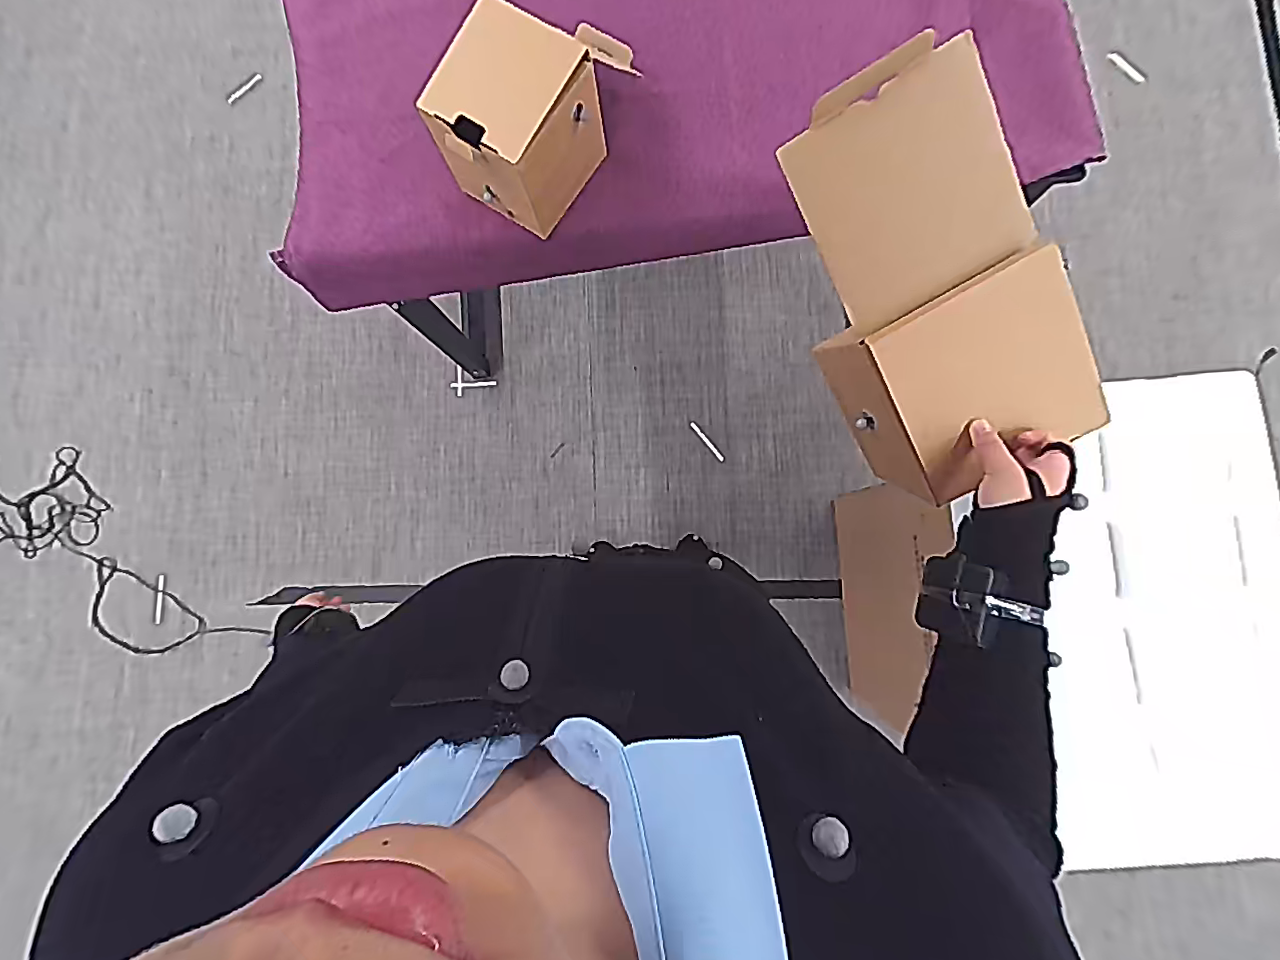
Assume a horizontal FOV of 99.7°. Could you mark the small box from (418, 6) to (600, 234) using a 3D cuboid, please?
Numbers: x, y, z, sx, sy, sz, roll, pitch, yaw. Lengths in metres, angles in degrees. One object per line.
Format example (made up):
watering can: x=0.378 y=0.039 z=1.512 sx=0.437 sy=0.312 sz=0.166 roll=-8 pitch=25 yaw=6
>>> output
small box: x=-0.172 y=-0.502 z=0.776 sx=0.168 sy=0.176 sz=0.179 roll=33 pitch=85 yaw=7
